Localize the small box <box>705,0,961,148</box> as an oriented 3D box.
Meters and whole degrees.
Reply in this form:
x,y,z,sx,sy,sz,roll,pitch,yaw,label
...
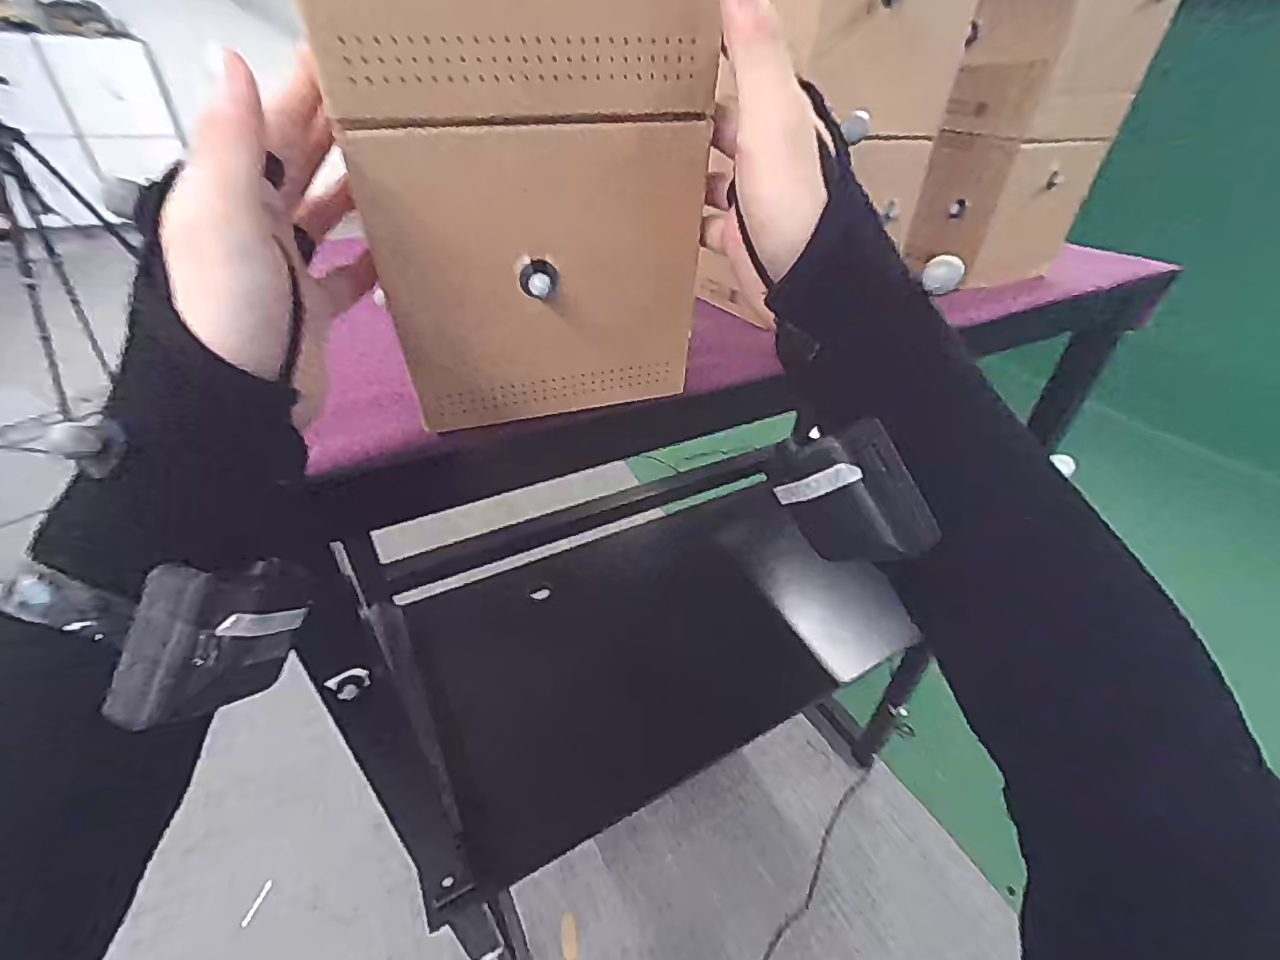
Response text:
x,y,z,sx,sy,sz,roll,pitch,yaw,label
0.171,-0.411,0.499,0.179,0.176,0.168,-16,39,-23,small box

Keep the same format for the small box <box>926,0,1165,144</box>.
x,y,z,sx,sy,sz,roll,pitch,yaw,label
0.451,-0.490,0.627,0.179,0.176,0.168,-15,41,-21,small box

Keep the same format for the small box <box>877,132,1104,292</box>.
x,y,z,sx,sy,sz,roll,pitch,yaw,label
0.447,-0.361,0.724,0.179,0.176,0.168,-15,41,-22,small box

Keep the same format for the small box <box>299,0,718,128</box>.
x,y,z,sx,sy,sz,roll,pitch,yaw,label
-0.064,-0.271,0.243,0.179,0.176,0.168,-10,46,-13,small box

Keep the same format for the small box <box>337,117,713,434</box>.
x,y,z,sx,sy,sz,roll,pitch,yaw,label
-0.072,-0.152,0.356,0.179,0.176,0.168,-11,46,-14,small box
